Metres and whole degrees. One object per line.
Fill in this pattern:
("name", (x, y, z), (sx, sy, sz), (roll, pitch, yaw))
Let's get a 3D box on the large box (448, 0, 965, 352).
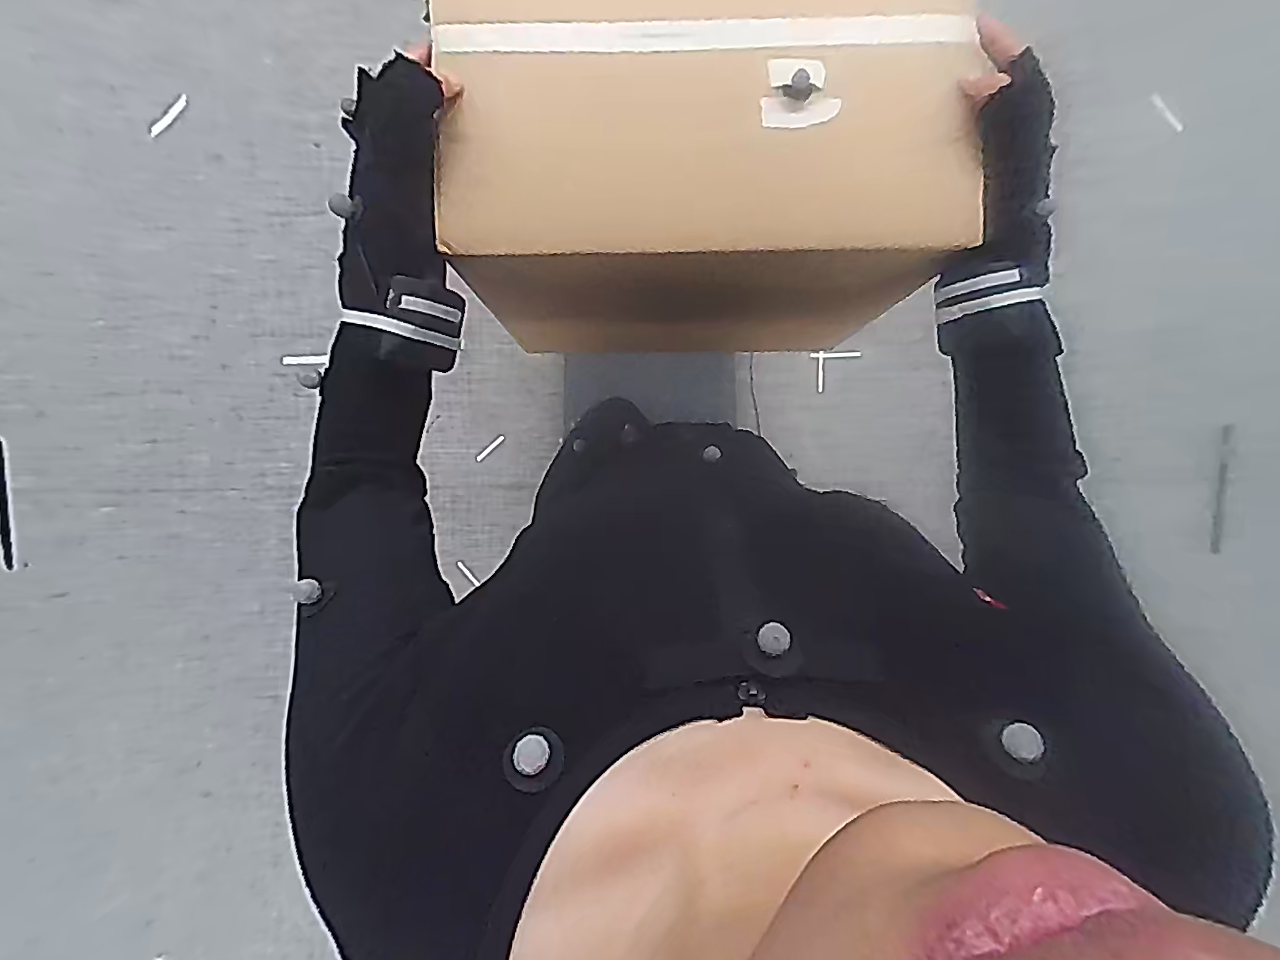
("large box", (0.047, -0.329, 0.568), (0.408, 0.320, 0.320), (-1, 89, -1))
